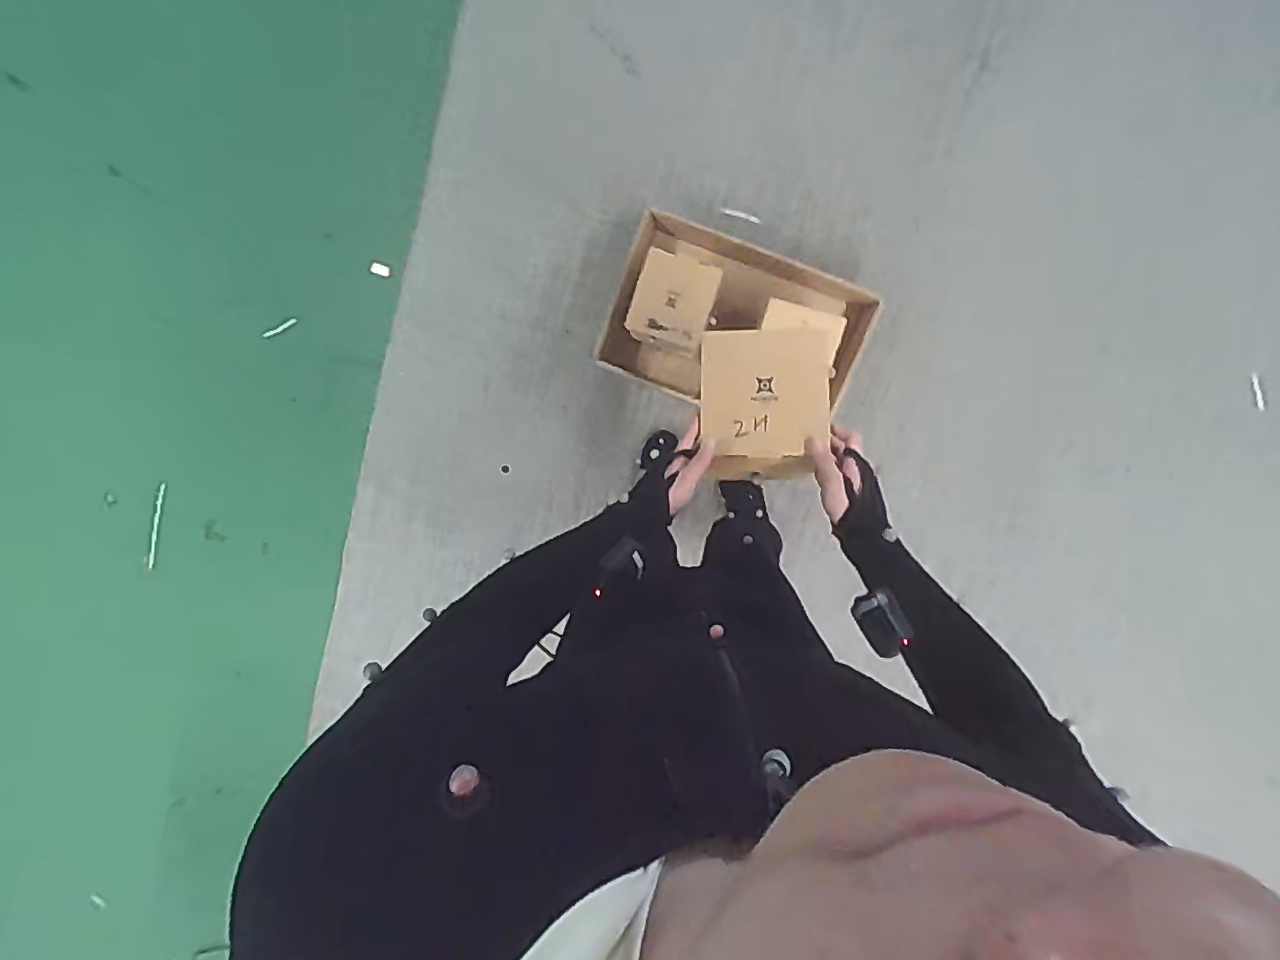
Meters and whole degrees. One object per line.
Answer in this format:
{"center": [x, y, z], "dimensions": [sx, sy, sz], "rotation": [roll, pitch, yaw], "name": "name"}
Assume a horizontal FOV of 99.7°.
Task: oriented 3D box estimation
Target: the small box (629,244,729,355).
{"center": [0.088, -0.396, 1.212], "dimensions": [0.168, 0.176, 0.179], "rotation": [20, 99, 5], "name": "small box"}

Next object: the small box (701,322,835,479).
{"center": [0.172, -0.104, 0.764], "dimensions": [0.168, 0.176, 0.179], "rotation": [0, 80, 9], "name": "small box"}
